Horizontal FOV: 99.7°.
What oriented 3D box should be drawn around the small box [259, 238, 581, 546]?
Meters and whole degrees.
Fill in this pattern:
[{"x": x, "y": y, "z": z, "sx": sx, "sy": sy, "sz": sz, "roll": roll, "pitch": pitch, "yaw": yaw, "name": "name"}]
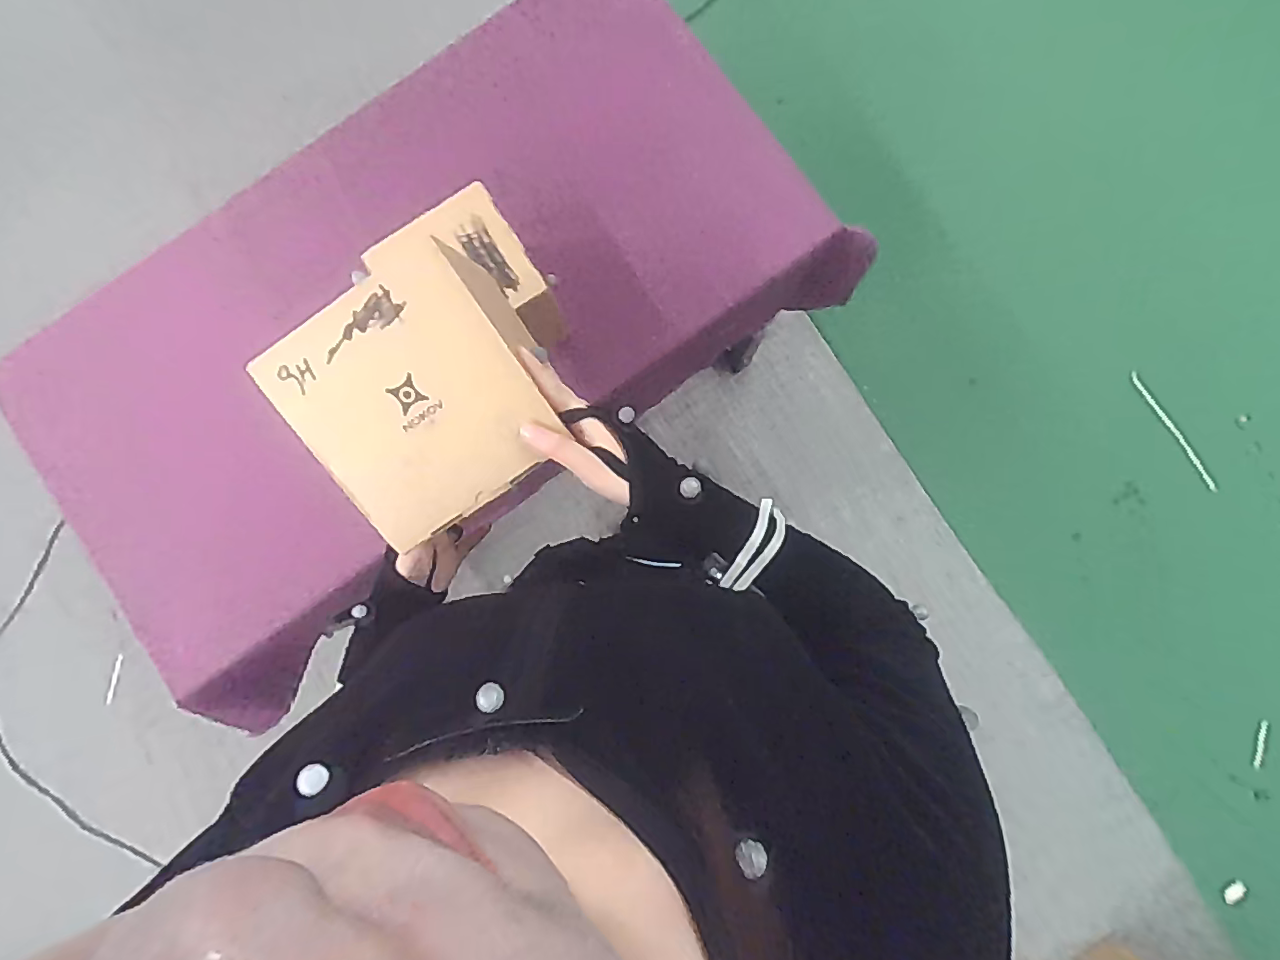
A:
[{"x": -0.164, "y": -0.078, "z": 0.475, "sx": 0.168, "sy": 0.176, "sz": 0.179, "roll": -32, "pitch": 104, "yaw": 5, "name": "small box"}]
